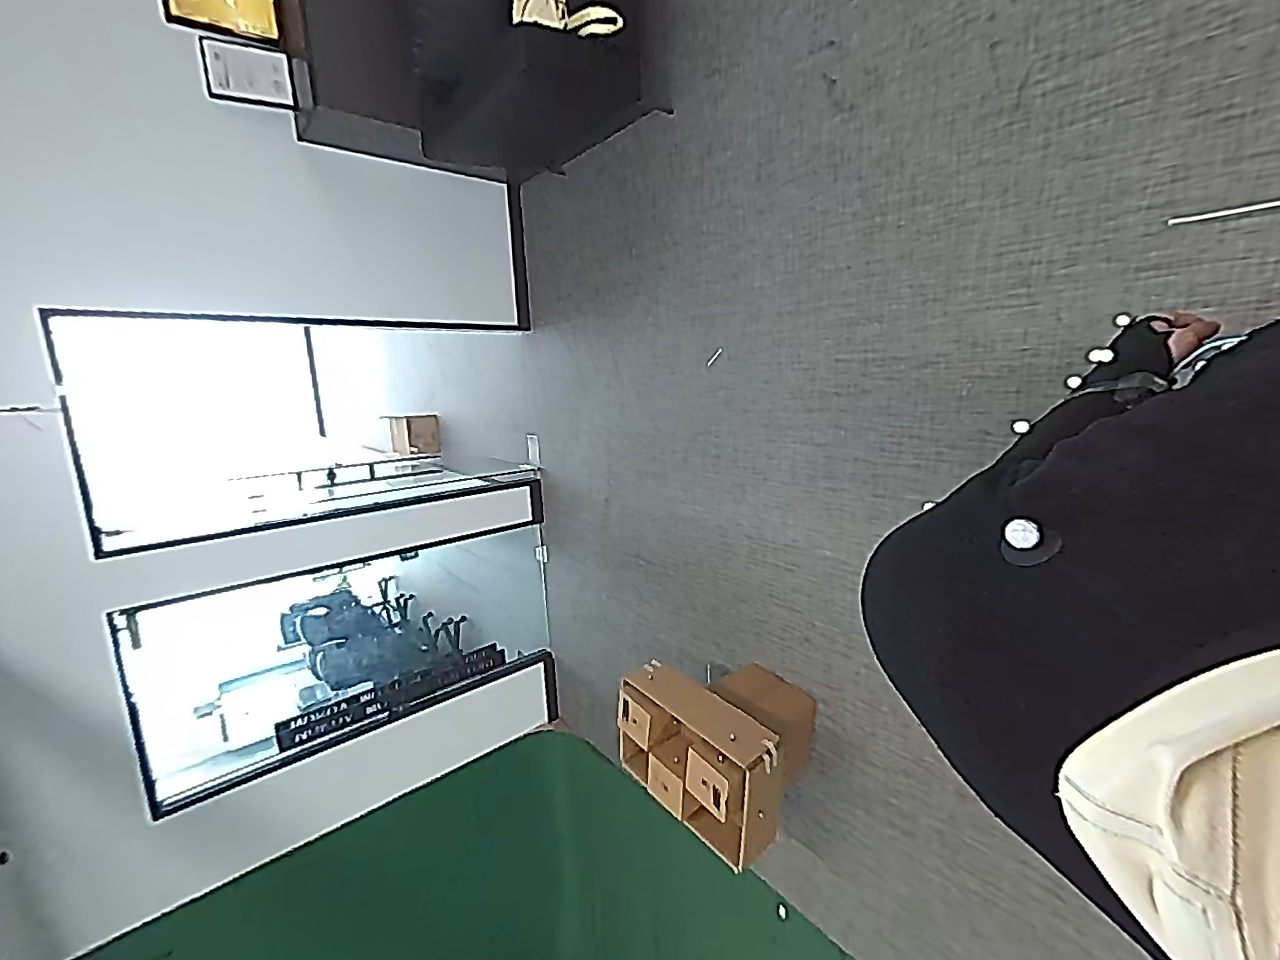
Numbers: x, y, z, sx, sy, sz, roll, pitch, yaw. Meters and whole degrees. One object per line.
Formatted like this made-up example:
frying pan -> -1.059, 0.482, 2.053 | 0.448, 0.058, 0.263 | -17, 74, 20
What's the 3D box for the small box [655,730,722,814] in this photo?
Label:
small box -> 0.174, 1.035, 1.935 | 0.179, 0.176, 0.168 | 17, 111, 47
